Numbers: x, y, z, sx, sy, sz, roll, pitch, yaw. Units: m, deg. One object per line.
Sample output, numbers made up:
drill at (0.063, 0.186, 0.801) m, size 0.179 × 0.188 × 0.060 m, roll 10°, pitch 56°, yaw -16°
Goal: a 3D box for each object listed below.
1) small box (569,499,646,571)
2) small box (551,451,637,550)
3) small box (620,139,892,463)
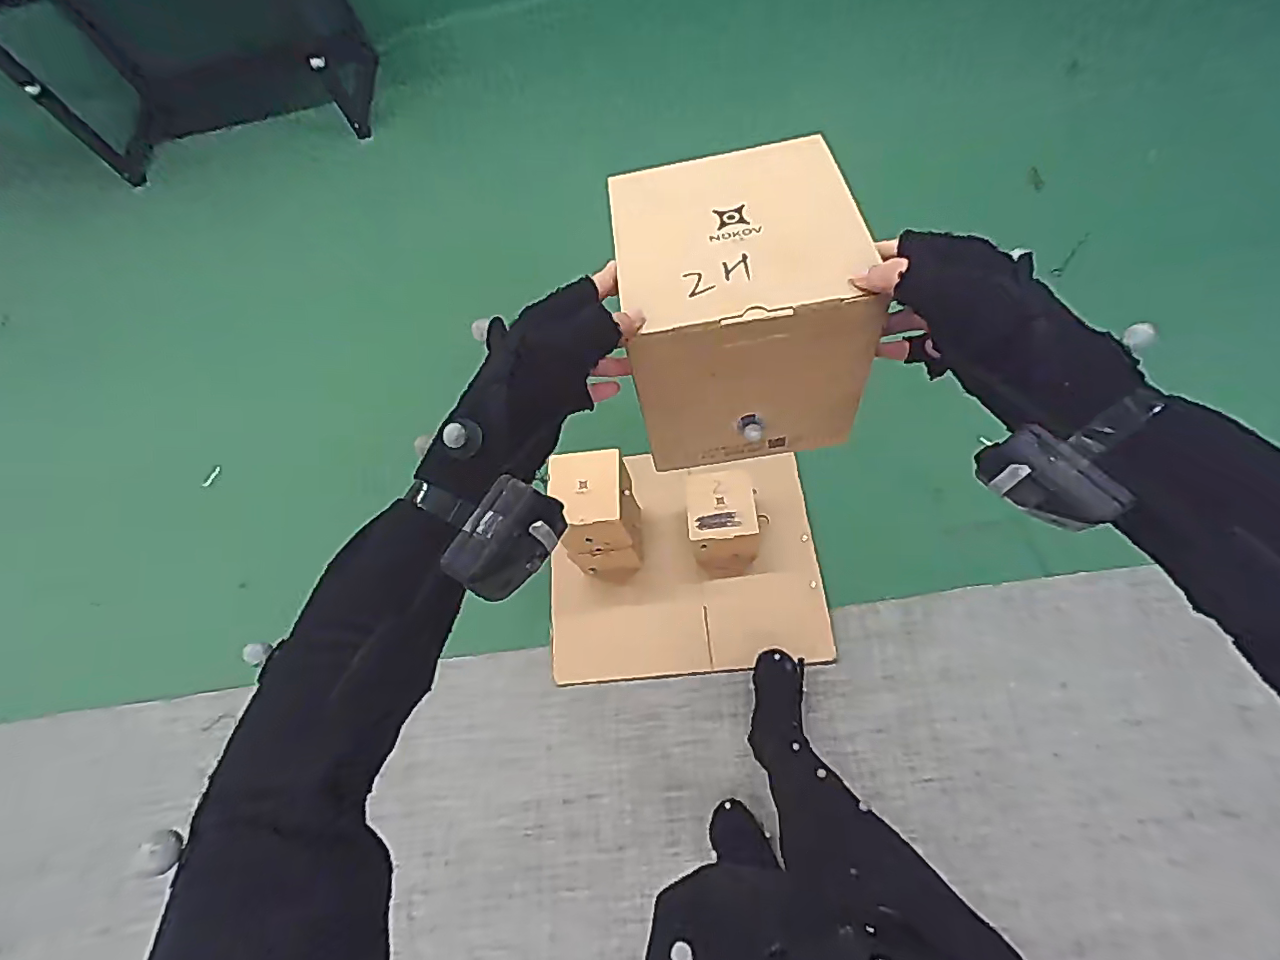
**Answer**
small box at (-0.080, 0.132, 1.406) m, size 0.168 × 0.176 × 0.179 m, roll -6°, pitch 64°, yaw 8°
small box at (-0.102, 0.052, 1.265) m, size 0.168 × 0.176 × 0.179 m, roll -5°, pitch 65°, yaw 8°
small box at (0.080, -0.137, 0.445) m, size 0.168 × 0.176 × 0.179 m, roll -8°, pitch 59°, yaw 6°
